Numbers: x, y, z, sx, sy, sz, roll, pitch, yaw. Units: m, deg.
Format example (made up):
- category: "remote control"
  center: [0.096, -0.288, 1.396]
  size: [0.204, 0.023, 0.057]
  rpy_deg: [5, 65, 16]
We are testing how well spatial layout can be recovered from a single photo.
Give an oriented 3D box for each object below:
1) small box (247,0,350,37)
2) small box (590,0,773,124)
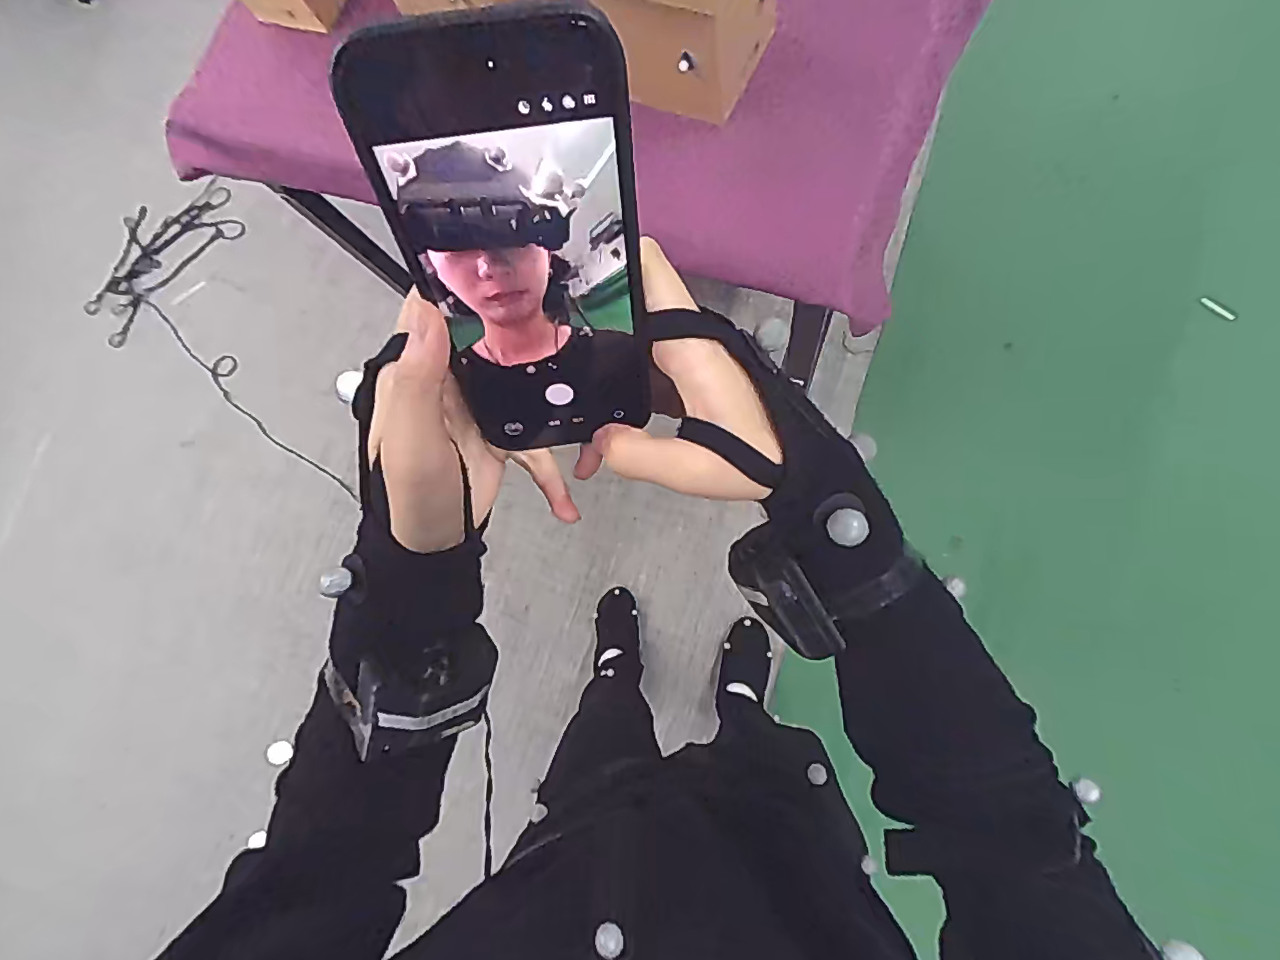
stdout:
- category: "small box"
  center: [-0.587, -0.883, 0.889]
  size: [0.168, 0.176, 0.179]
  rpy_deg: [21, 84, 15]
- category: "small box"
  center: [0.062, -0.606, 0.698]
  size: [0.179, 0.176, 0.168]
  rpy_deg: [27, 85, 16]
